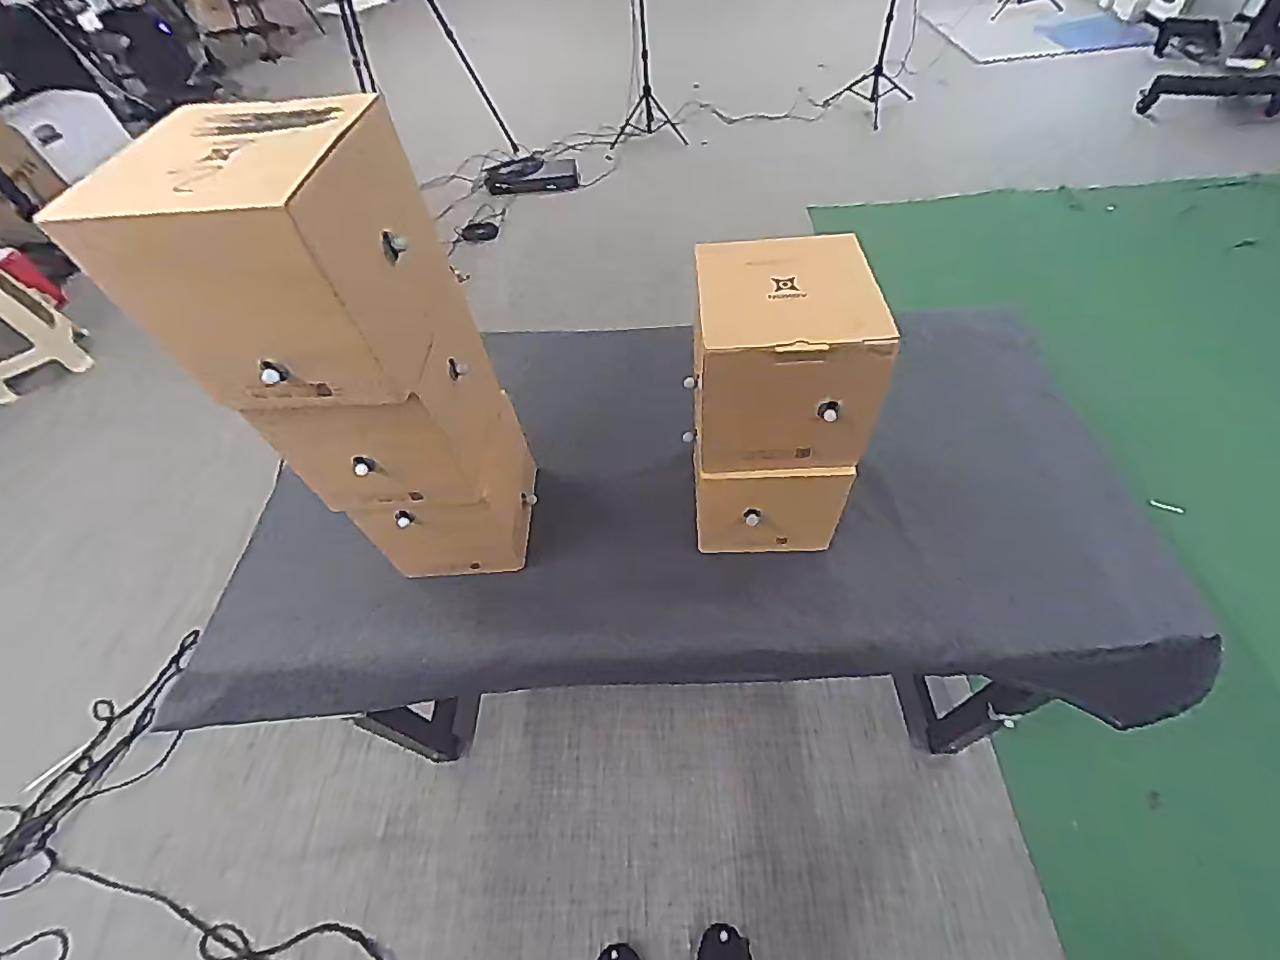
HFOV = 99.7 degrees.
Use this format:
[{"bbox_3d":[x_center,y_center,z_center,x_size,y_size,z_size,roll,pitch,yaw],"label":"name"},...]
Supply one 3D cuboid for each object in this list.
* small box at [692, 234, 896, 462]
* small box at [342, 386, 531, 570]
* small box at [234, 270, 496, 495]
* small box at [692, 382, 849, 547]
[{"bbox_3d":[0.141,-0.131,0.568,0.168,0.176,0.179,-2,51,3],"label":"small box"},{"bbox_3d":[-0.245,-0.001,0.706,0.168,0.176,0.179,-3,52,2],"label":"small box"},{"bbox_3d":[-0.263,-0.094,0.571,0.168,0.176,0.179,-2,53,2],"label":"small box"},{"bbox_3d":[0.152,-0.025,0.691,0.168,0.176,0.179,-2,52,4],"label":"small box"}]
